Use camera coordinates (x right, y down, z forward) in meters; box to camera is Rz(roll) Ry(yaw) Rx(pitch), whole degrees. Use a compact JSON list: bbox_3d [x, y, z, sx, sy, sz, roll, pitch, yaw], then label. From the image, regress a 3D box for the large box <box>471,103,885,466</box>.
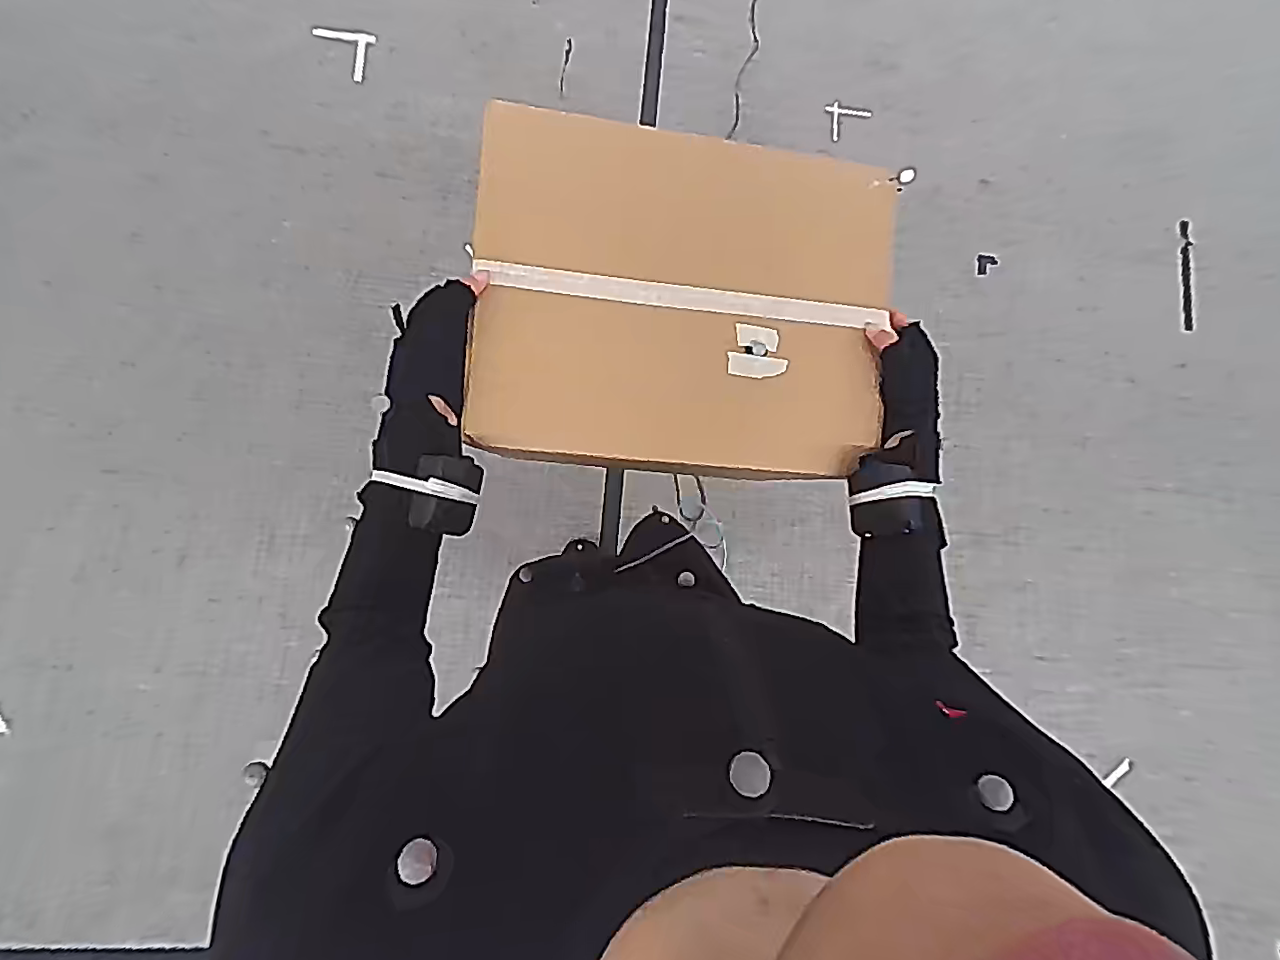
[{"bbox_3d":[0.025,-0.186,0.676,0.408,0.320,0.320,5,91,-9],"label":"large box"}]
